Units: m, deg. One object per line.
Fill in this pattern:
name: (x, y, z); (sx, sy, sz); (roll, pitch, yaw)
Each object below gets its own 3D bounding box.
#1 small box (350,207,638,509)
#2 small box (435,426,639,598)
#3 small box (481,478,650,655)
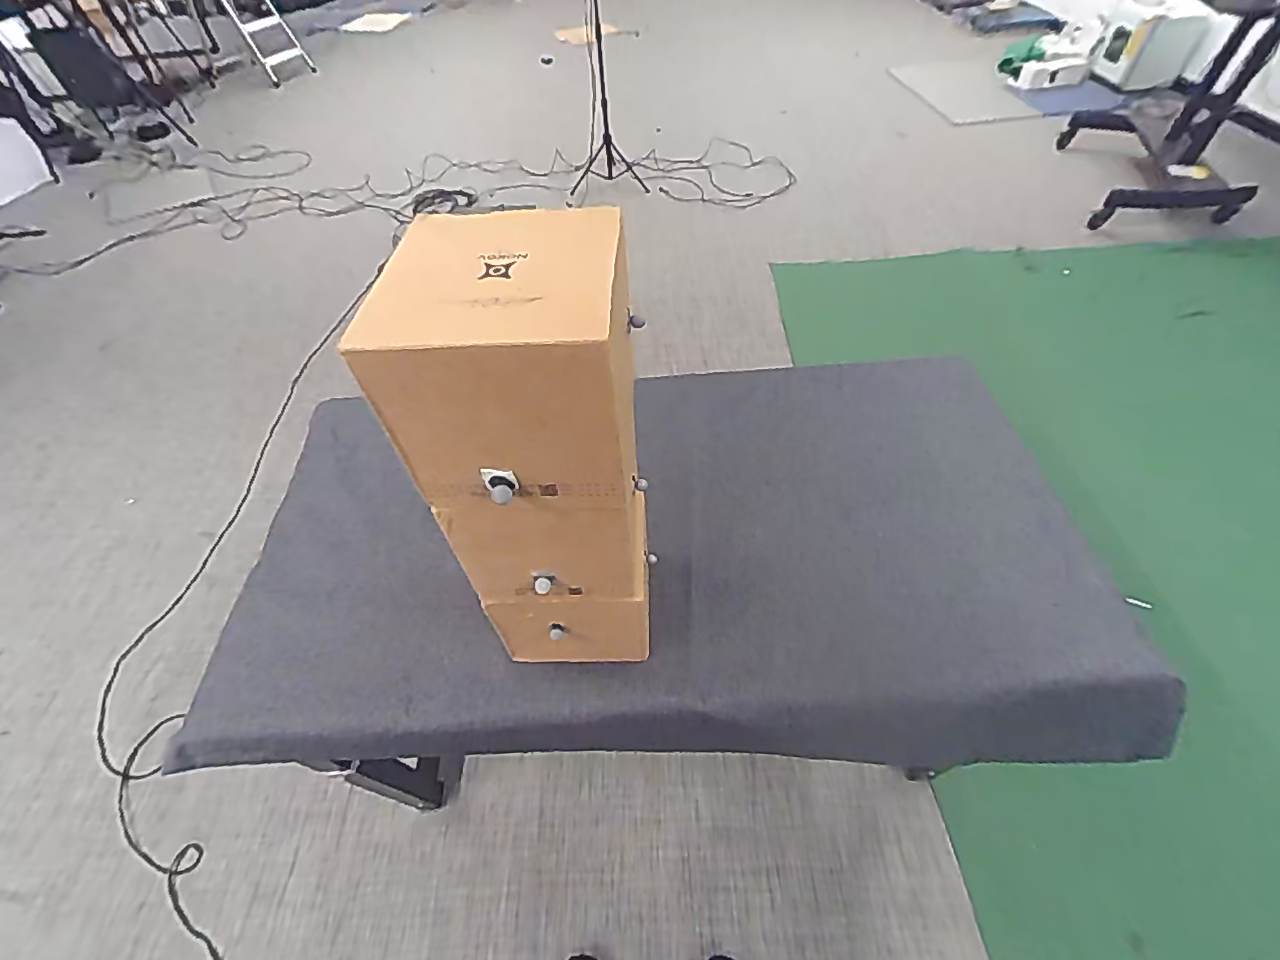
small box: (-0.090, -0.096, 0.437); (0.168, 0.176, 0.179); (-1, 52, 3)
small box: (-0.088, 0.004, 0.564); (0.168, 0.176, 0.179); (0, 51, 2)
small box: (-0.079, 0.113, 0.688); (0.179, 0.176, 0.168); (-1, 51, 3)
